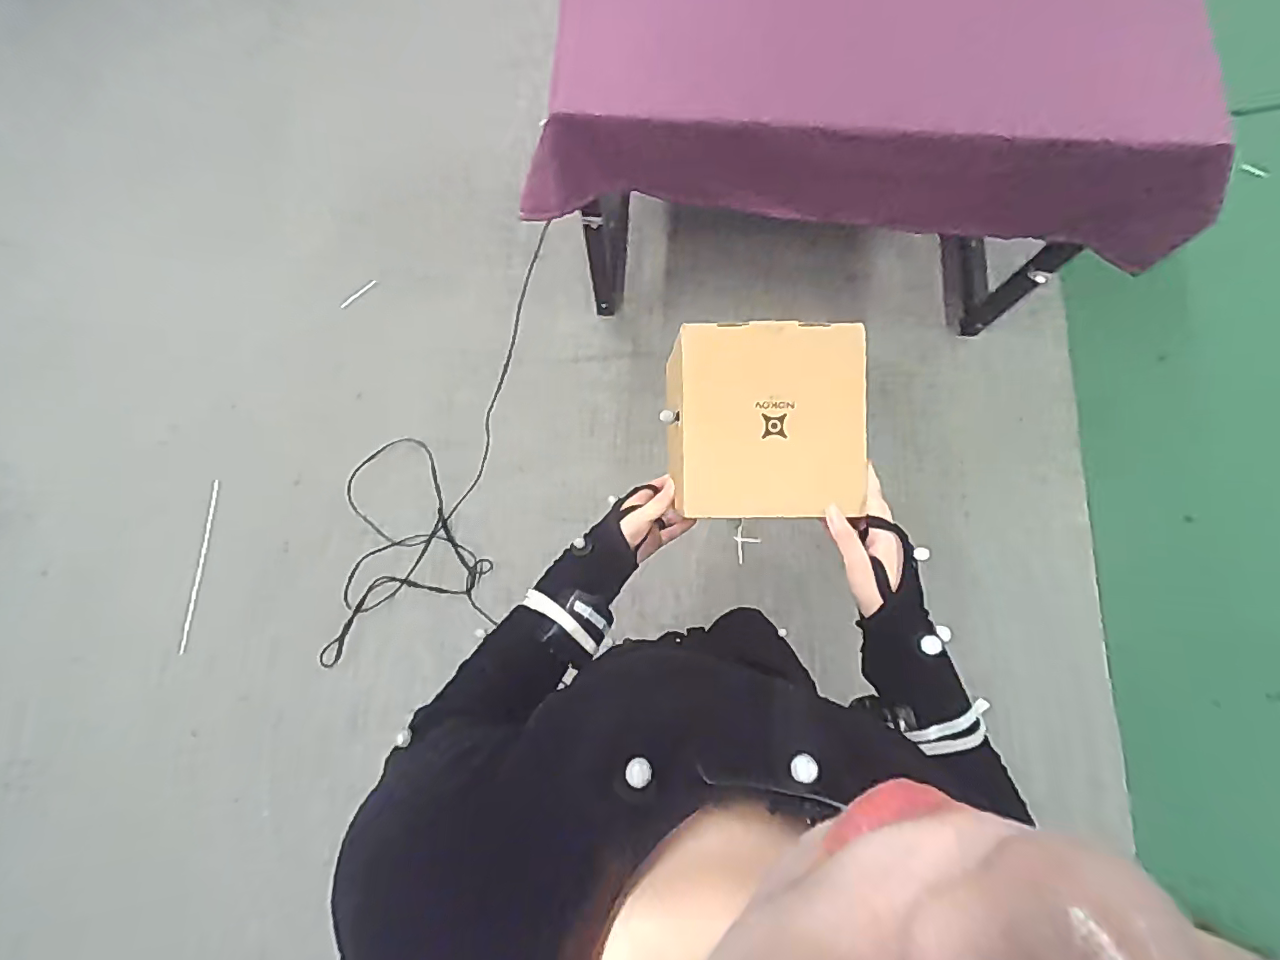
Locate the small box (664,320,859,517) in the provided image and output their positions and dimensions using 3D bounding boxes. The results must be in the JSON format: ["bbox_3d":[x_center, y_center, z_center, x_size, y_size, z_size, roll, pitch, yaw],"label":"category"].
[{"bbox_3d":[0.113,-0.054,0.561,0.168,0.176,0.179,-1,88,-1],"label":"small box"}]
